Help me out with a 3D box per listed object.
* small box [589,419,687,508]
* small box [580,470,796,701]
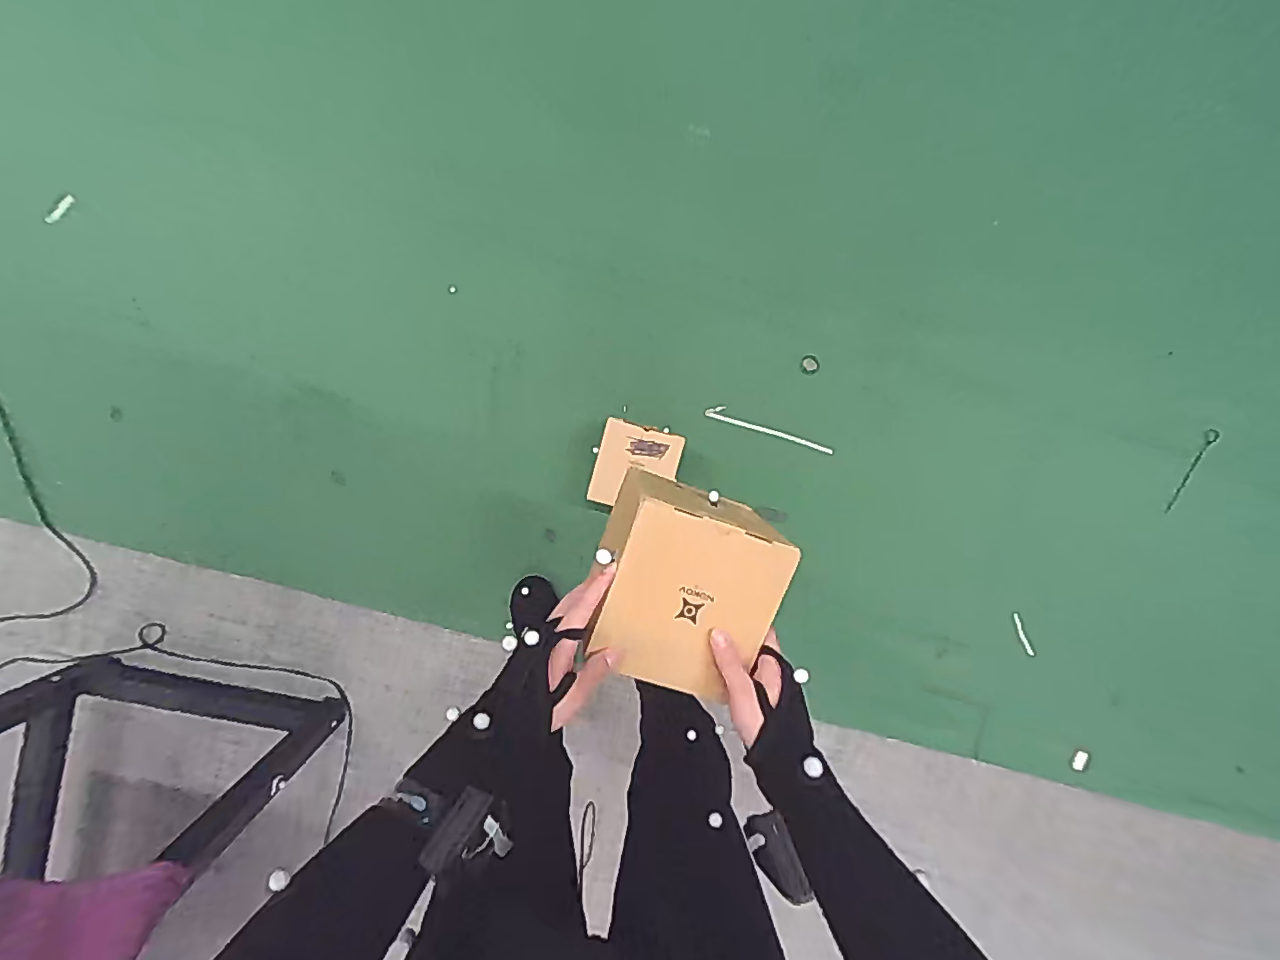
[{"bbox_3d":[-0.008,-0.025,1.175,0.168,0.176,0.179,15,95,-3],"label":"small box"},{"bbox_3d":[0.040,0.104,0.602,0.168,0.176,0.179,20,98,-9],"label":"small box"}]
